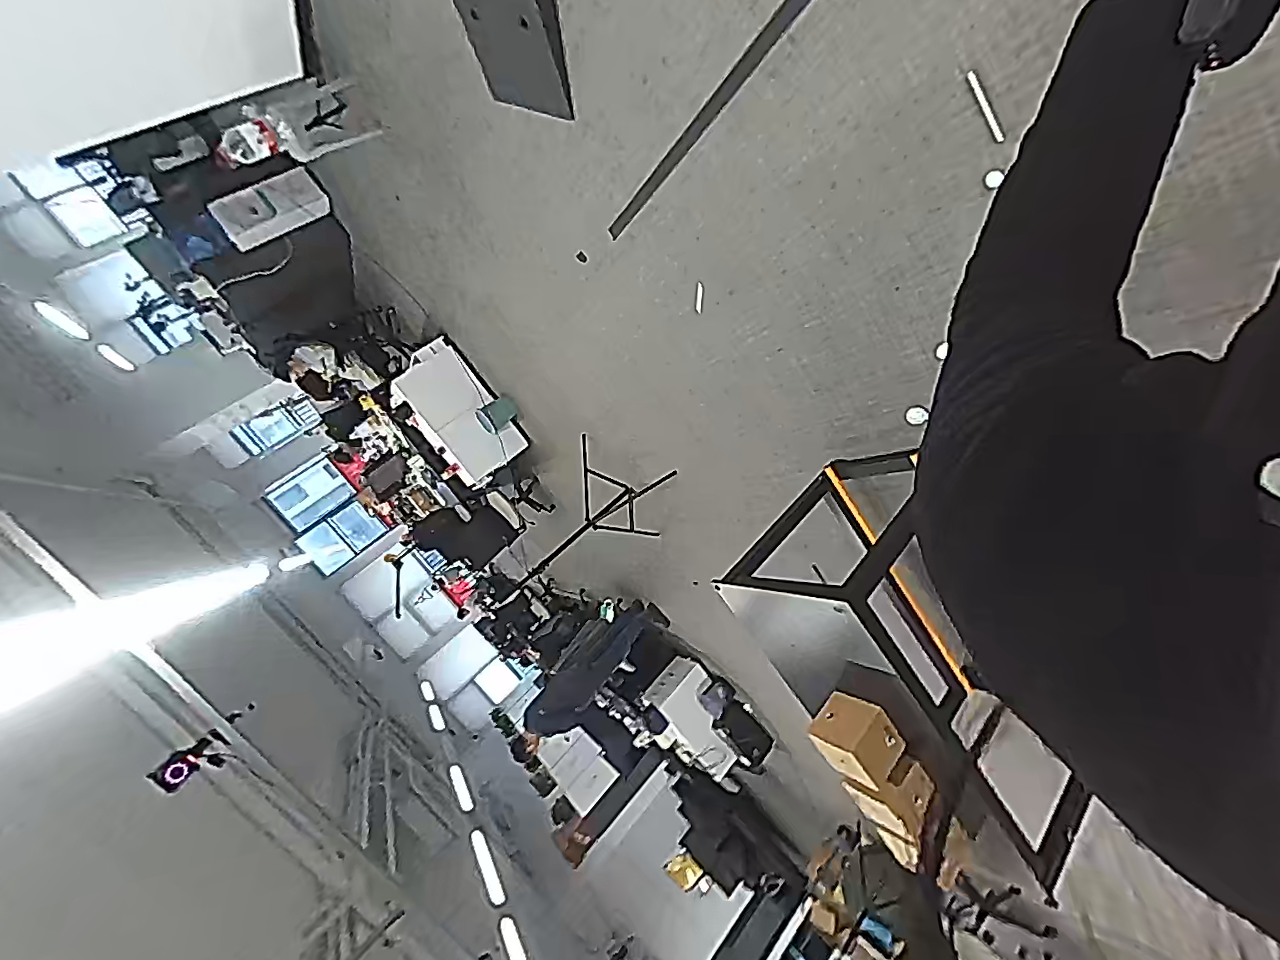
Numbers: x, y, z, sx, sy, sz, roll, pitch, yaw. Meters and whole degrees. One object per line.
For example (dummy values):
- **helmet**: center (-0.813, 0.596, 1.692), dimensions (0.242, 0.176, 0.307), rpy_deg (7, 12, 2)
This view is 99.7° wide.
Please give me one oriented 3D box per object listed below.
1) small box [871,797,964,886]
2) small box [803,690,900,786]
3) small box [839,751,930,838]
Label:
- **small box**: center (0.880, 1.110, 1.706), dimensions (0.179, 0.176, 0.168), rpy_deg (54, 156, -10)
- **small box**: center (0.631, 0.758, 1.612), dimensions (0.168, 0.176, 0.179), rpy_deg (53, 155, -14)
- **small box**: center (0.757, 0.938, 1.662), dimensions (0.168, 0.176, 0.179), rpy_deg (54, 155, -13)
